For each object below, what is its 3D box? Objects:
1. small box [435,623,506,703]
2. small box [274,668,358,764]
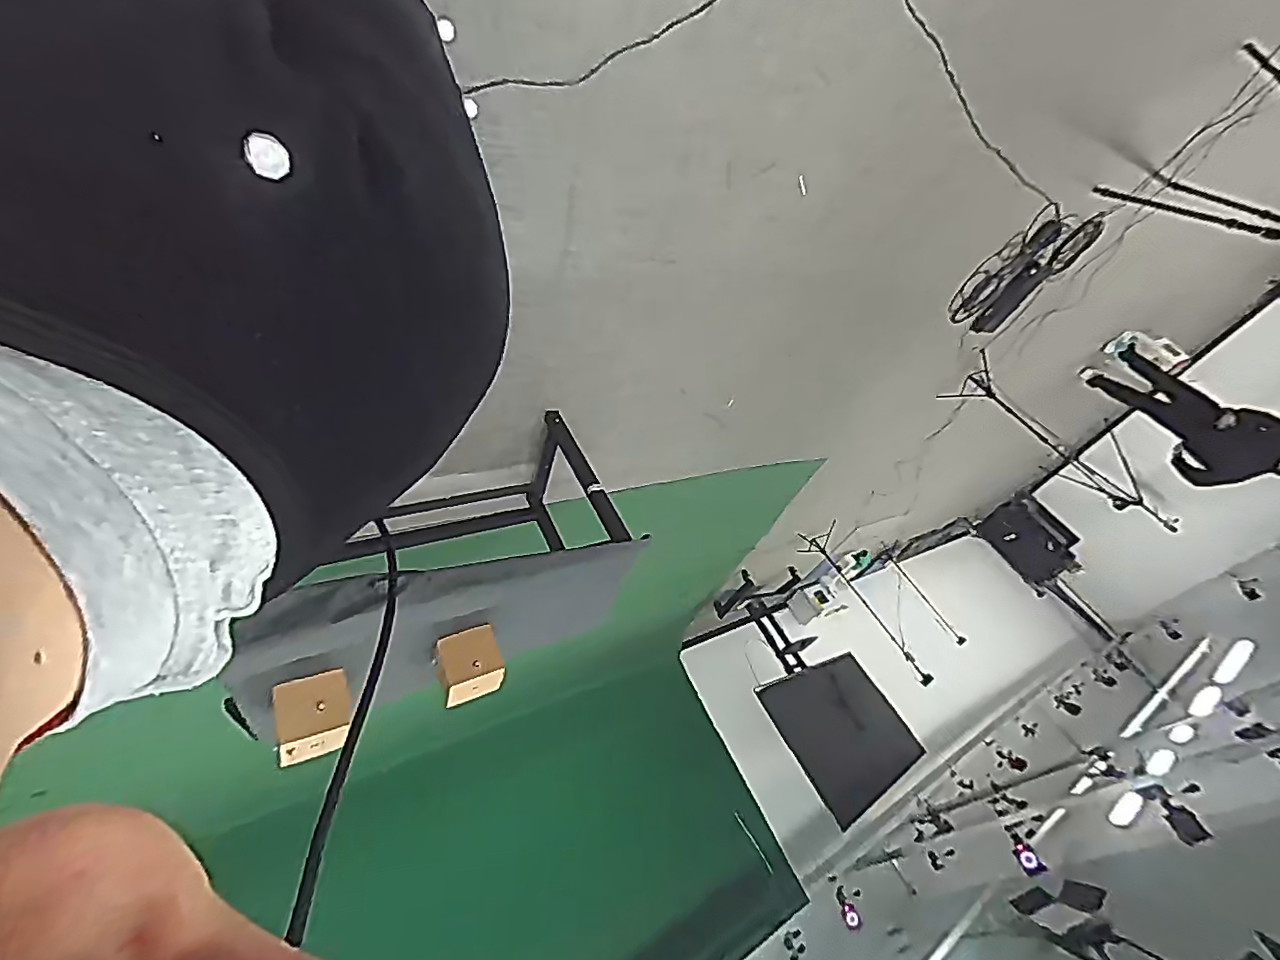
[{"bbox_3d":[-0.557,0.592,1.765,0.179,0.176,0.168,-10,142,-31],"label":"small box"},{"bbox_3d":[-0.913,0.657,1.523,0.179,0.176,0.168,-7,141,-37],"label":"small box"}]
